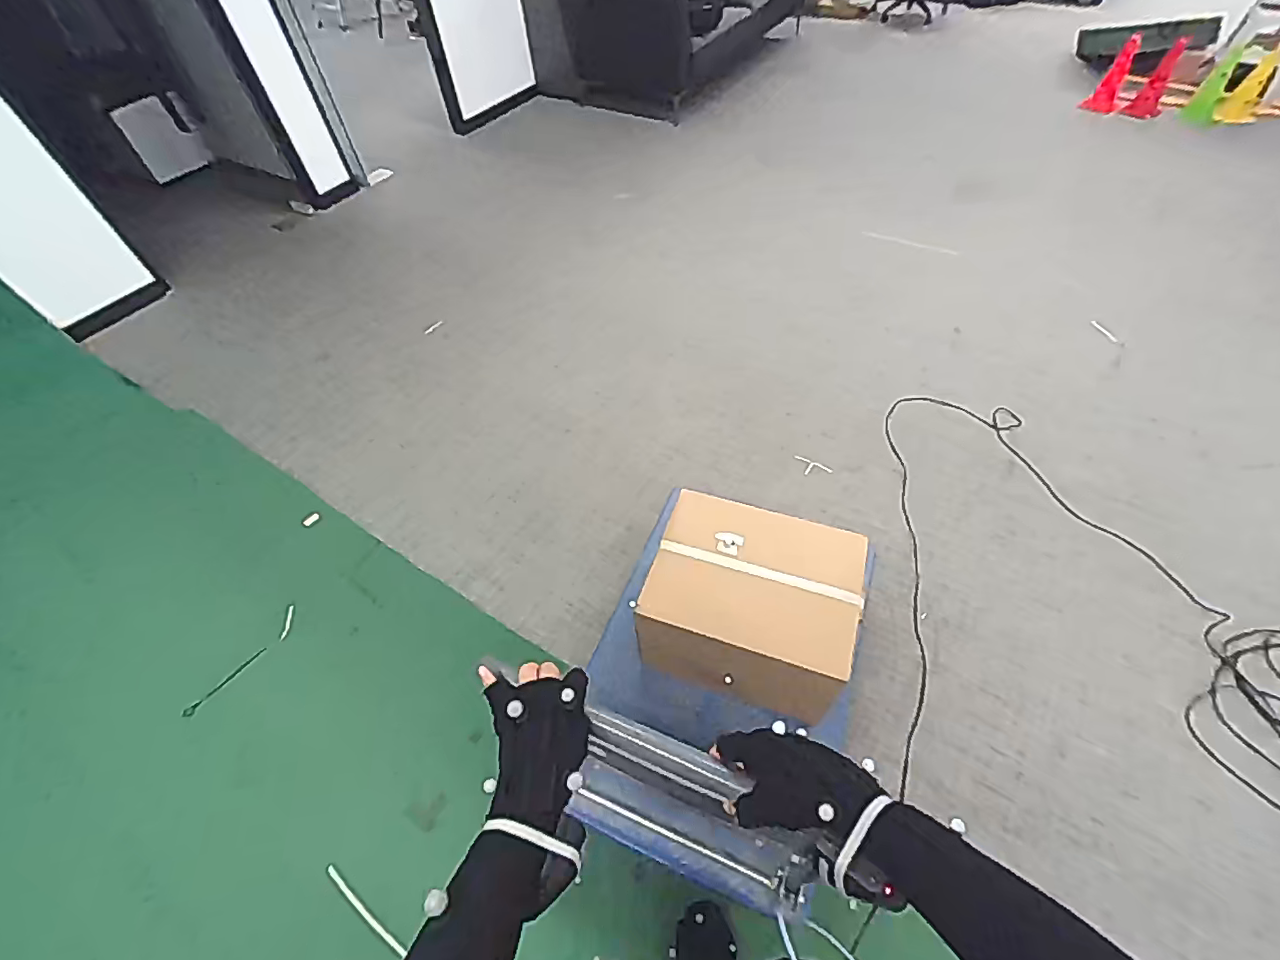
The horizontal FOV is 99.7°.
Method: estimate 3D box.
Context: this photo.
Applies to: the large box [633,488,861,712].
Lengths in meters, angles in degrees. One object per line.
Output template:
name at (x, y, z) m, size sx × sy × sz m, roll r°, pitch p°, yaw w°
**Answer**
large box at (0.233, 0.267, 1.199) m, size 0.408 × 0.320 × 0.320 m, roll 14°, pitch 55°, yaw 15°
